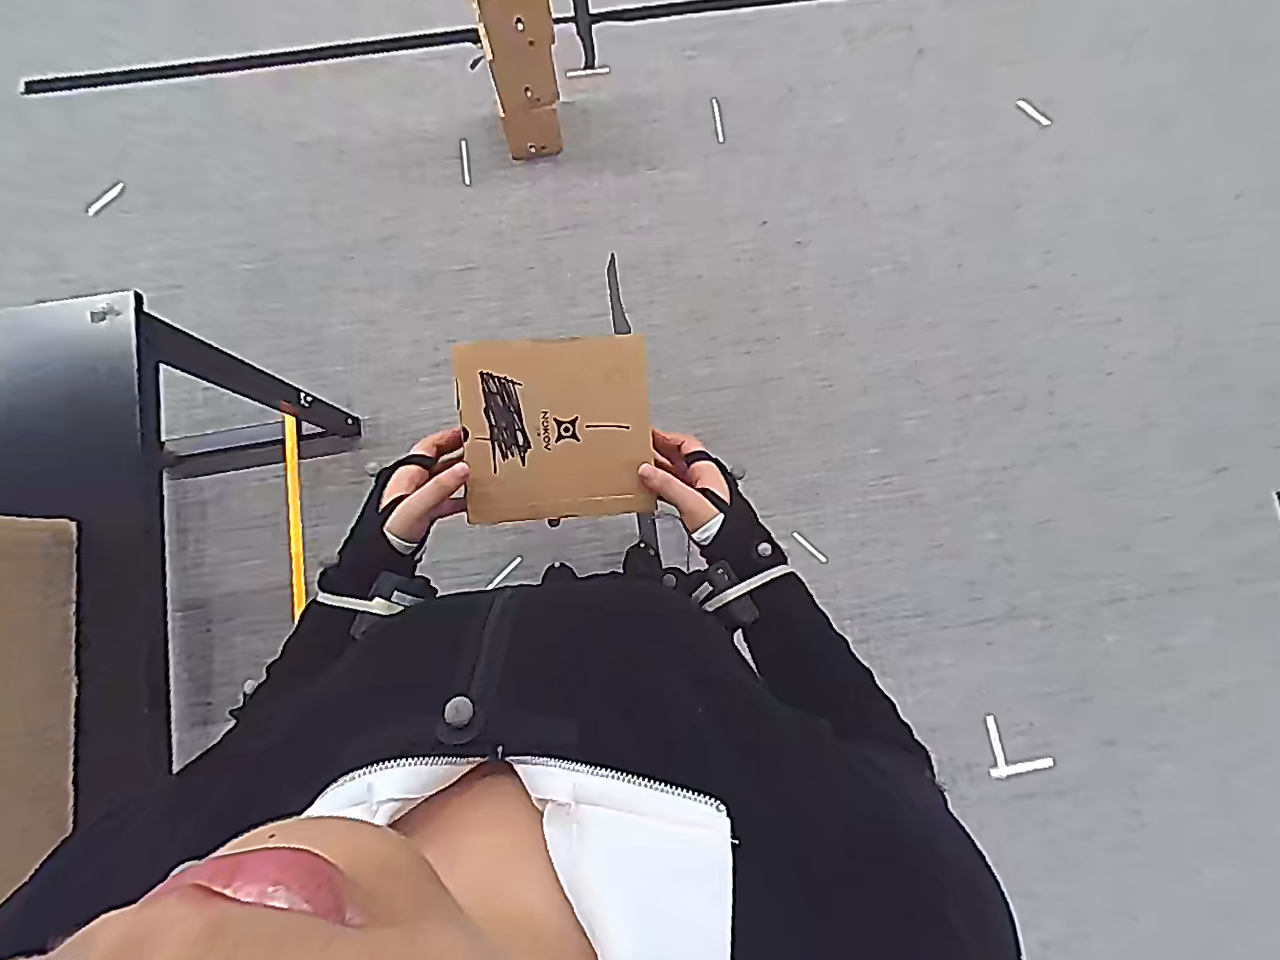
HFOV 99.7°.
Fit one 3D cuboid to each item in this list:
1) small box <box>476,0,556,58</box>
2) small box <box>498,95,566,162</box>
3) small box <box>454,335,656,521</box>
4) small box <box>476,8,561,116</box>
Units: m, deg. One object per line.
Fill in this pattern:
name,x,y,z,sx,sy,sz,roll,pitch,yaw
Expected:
small box,-0.308,-1.154,1.288,0.168,0.176,0.179,-18,82,-2
small box,-0.323,-1.095,1.611,0.168,0.176,0.179,-11,83,-1
small box,-0.081,-0.051,0.568,0.179,0.176,0.168,-4,94,-5
small box,-0.321,-1.132,1.450,0.168,0.176,0.179,-16,82,-2
